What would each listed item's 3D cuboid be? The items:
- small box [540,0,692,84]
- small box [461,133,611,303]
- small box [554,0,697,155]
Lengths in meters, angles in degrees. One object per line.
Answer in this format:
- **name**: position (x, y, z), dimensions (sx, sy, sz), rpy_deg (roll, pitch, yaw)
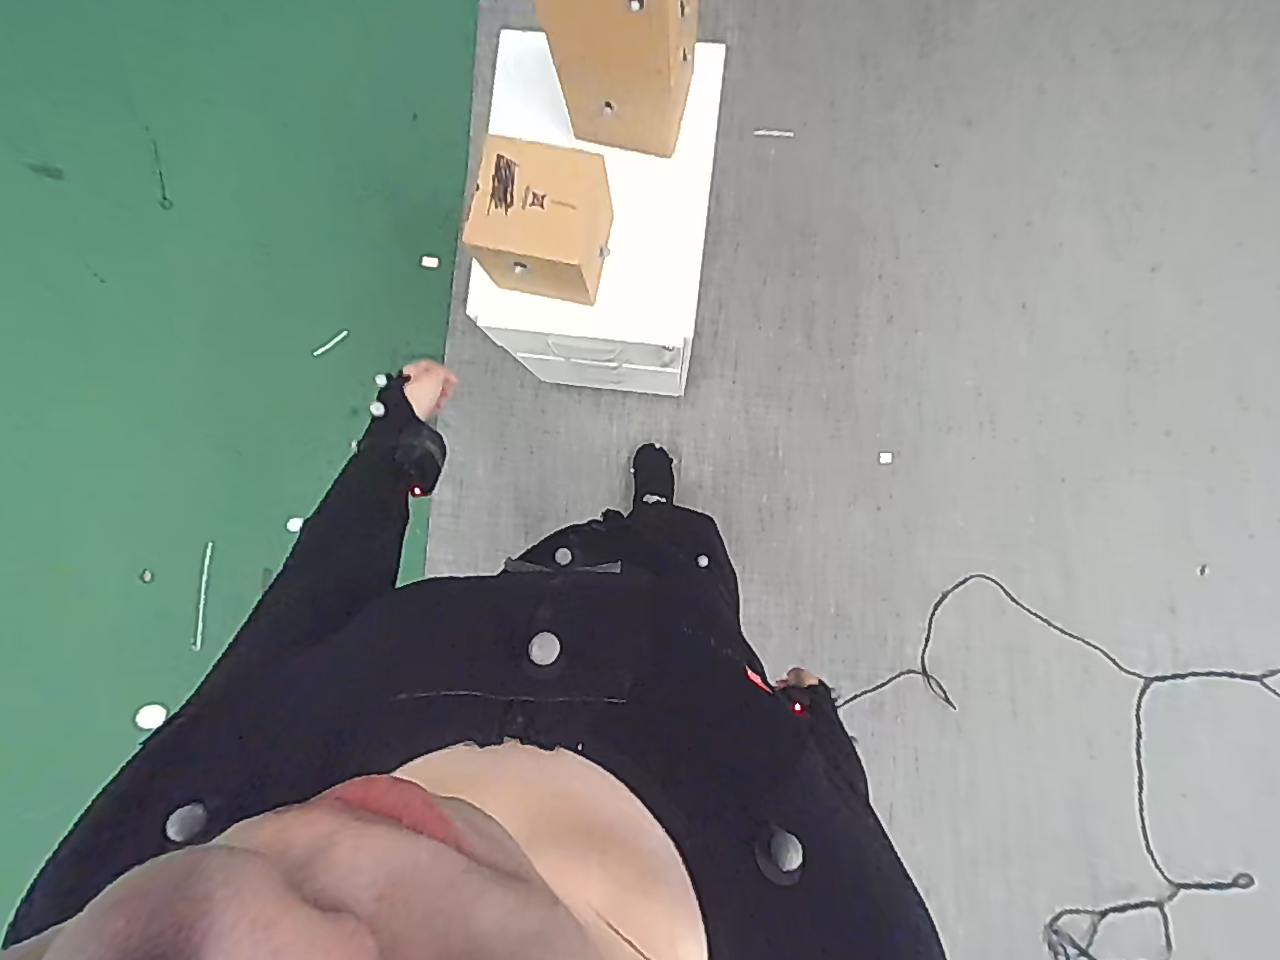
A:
- **small box**: position (-0.028, -0.647, 0.684), dimensions (0.179, 0.176, 0.168), rpy_deg (13, 90, 3)
- **small box**: position (-0.151, -0.396, 0.846), dimensions (0.179, 0.176, 0.168), rpy_deg (12, 88, 2)
- **small box**: position (-0.015, -0.646, 0.846), dimensions (0.179, 0.176, 0.168), rpy_deg (14, 90, 4)
